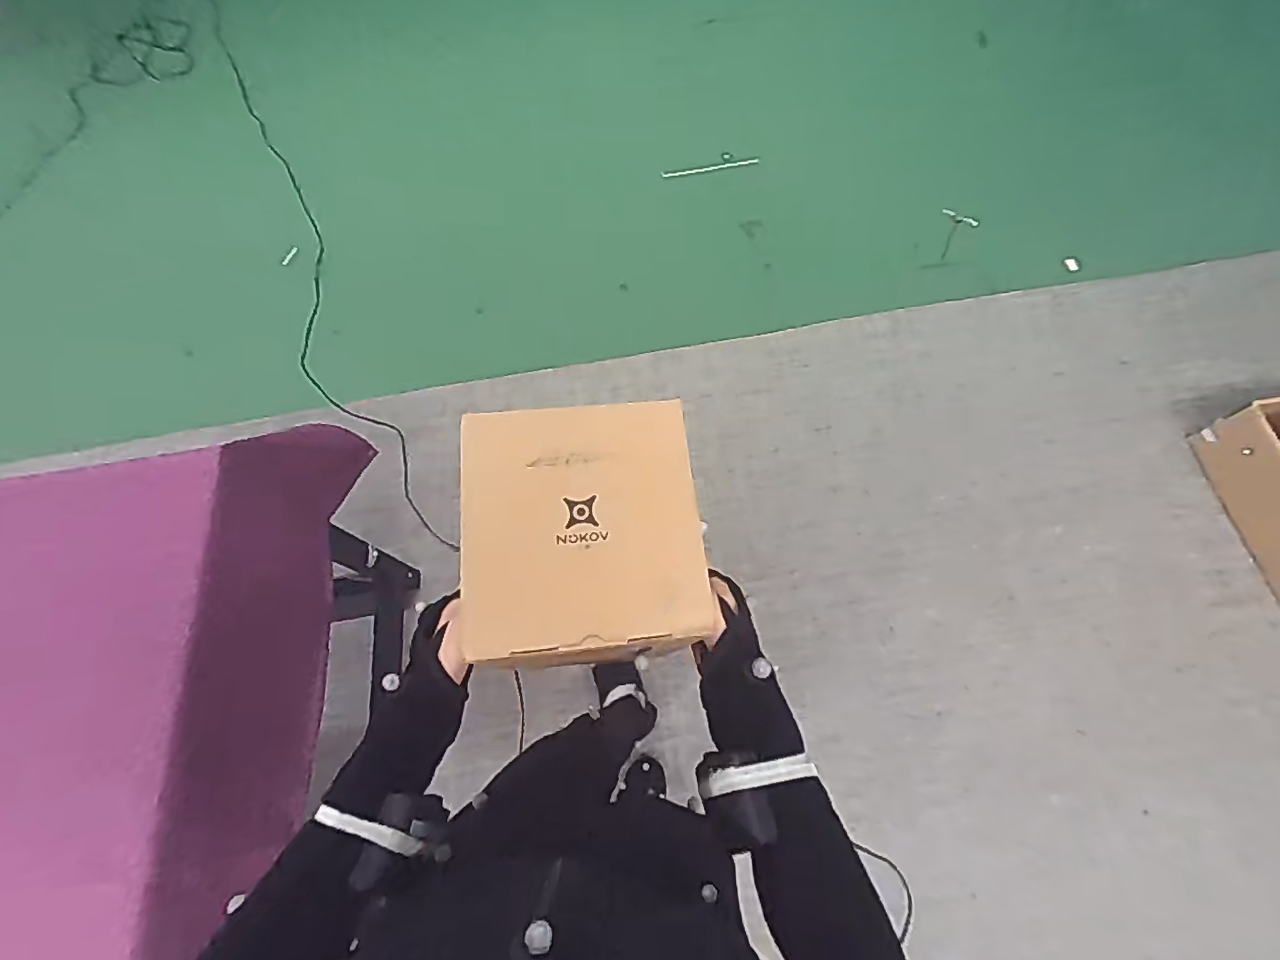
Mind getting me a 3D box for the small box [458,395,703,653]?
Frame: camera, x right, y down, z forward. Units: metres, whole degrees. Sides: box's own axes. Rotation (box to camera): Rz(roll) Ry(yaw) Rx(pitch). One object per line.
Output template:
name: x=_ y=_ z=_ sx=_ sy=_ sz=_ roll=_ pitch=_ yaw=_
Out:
small box: x=-0.049 y=0.048 z=0.457 sx=0.168 sy=0.176 sz=0.179 roll=-4 pitch=68 yaw=-6
